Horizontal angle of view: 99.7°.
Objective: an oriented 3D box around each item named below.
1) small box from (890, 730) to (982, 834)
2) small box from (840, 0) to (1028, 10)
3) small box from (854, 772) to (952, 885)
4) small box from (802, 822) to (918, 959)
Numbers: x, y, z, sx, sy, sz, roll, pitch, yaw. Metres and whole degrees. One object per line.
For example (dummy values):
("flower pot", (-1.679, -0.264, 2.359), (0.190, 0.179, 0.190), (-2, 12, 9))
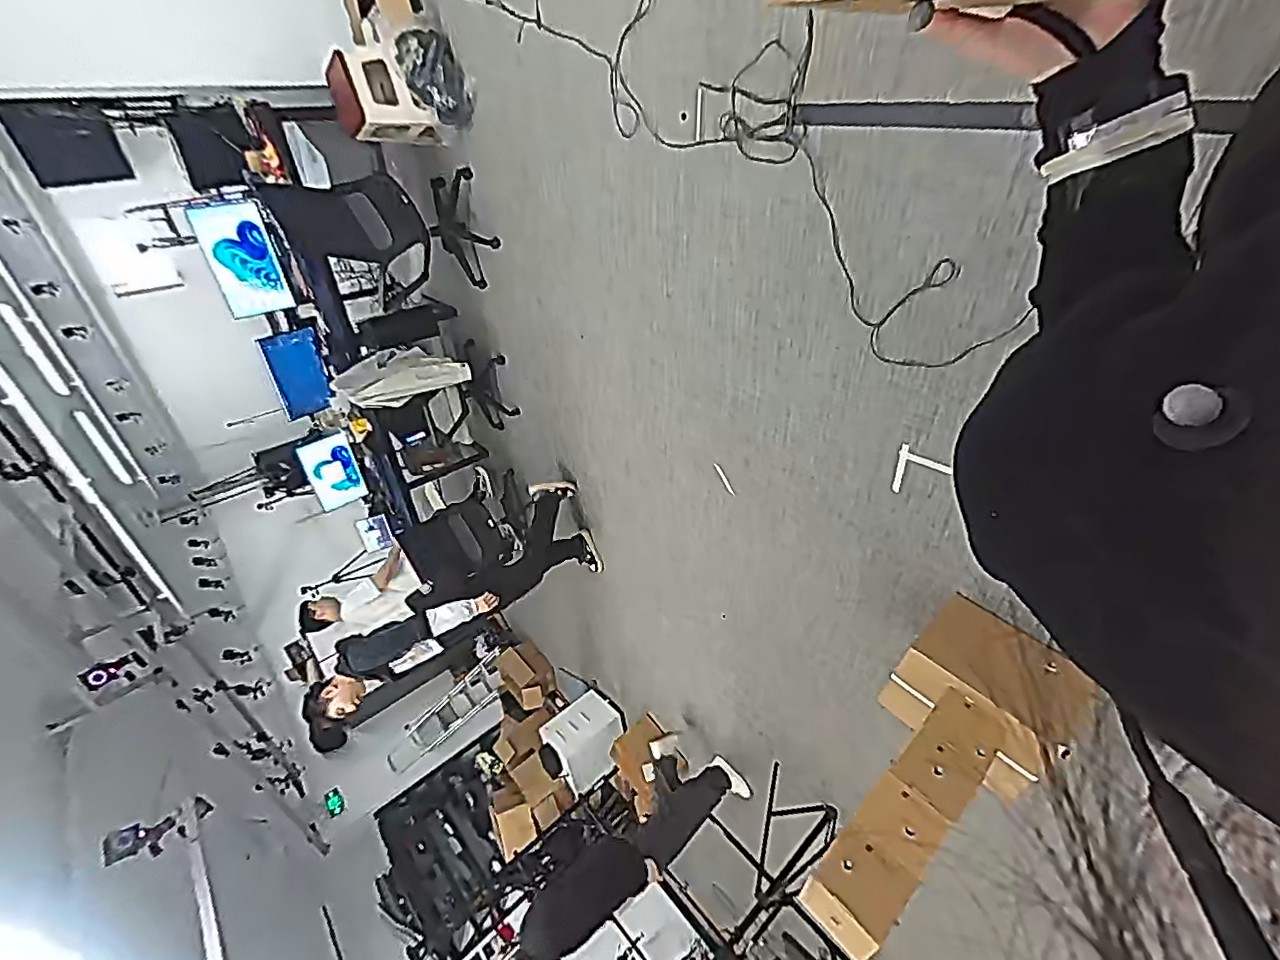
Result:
("small box", (0.735, 0.781, 1.377), (0.168, 0.176, 0.179), (36, 140, 35))
("small box", (0.188, -0.337, 0.254), (0.179, 0.176, 0.168), (30, 138, 34))
("small box", (0.612, 0.844, 1.292), (0.168, 0.176, 0.179), (34, 140, 36))
("small box", (0.491, 0.915, 1.209), (0.168, 0.176, 0.179), (34, 141, 37))
